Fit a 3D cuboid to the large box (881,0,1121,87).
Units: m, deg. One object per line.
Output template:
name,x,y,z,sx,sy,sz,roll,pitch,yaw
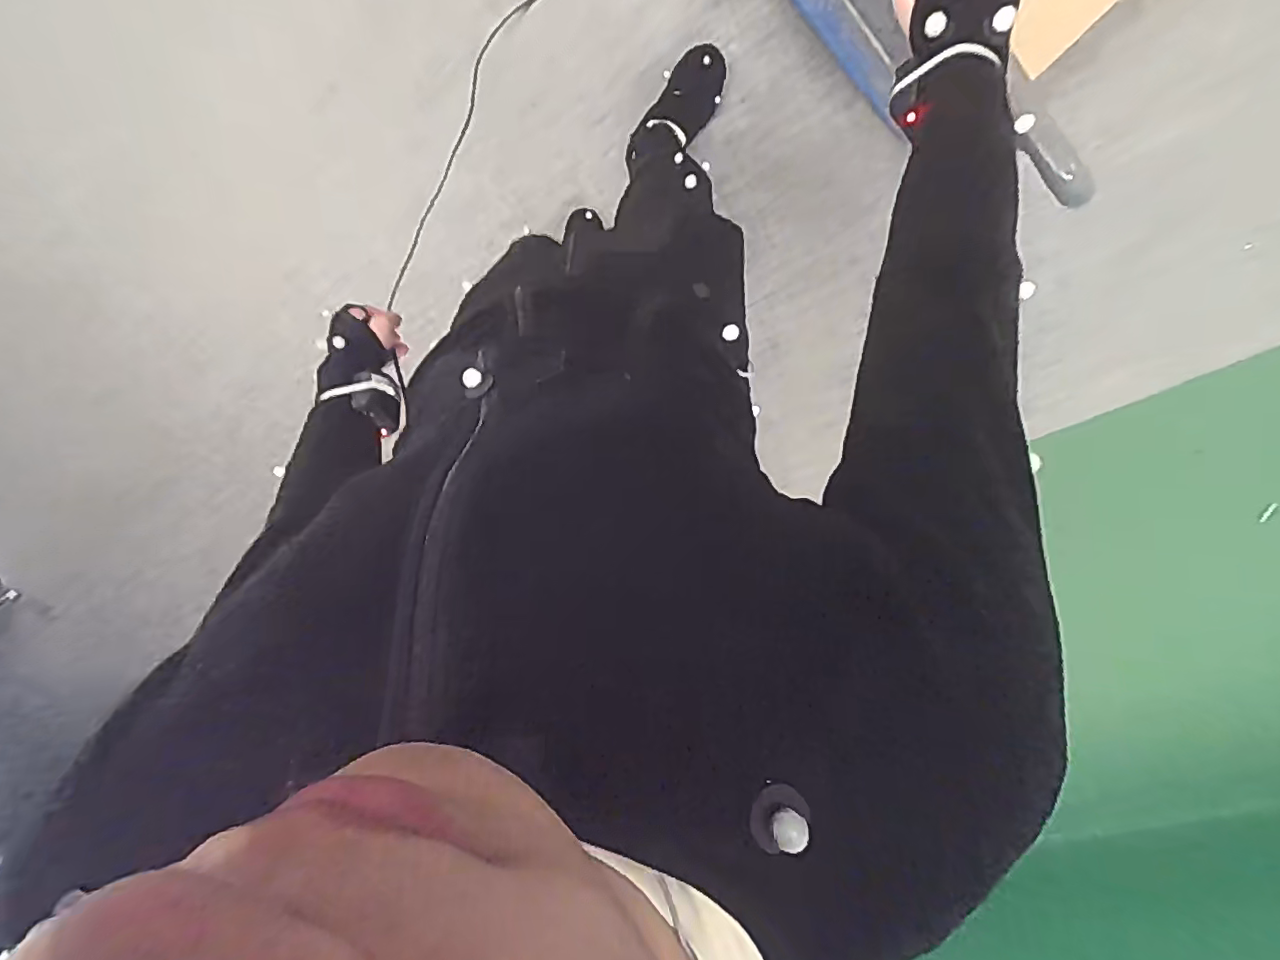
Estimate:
large box,0.588,-0.864,0.772,0.320,0.320,0.408,34,121,-21
